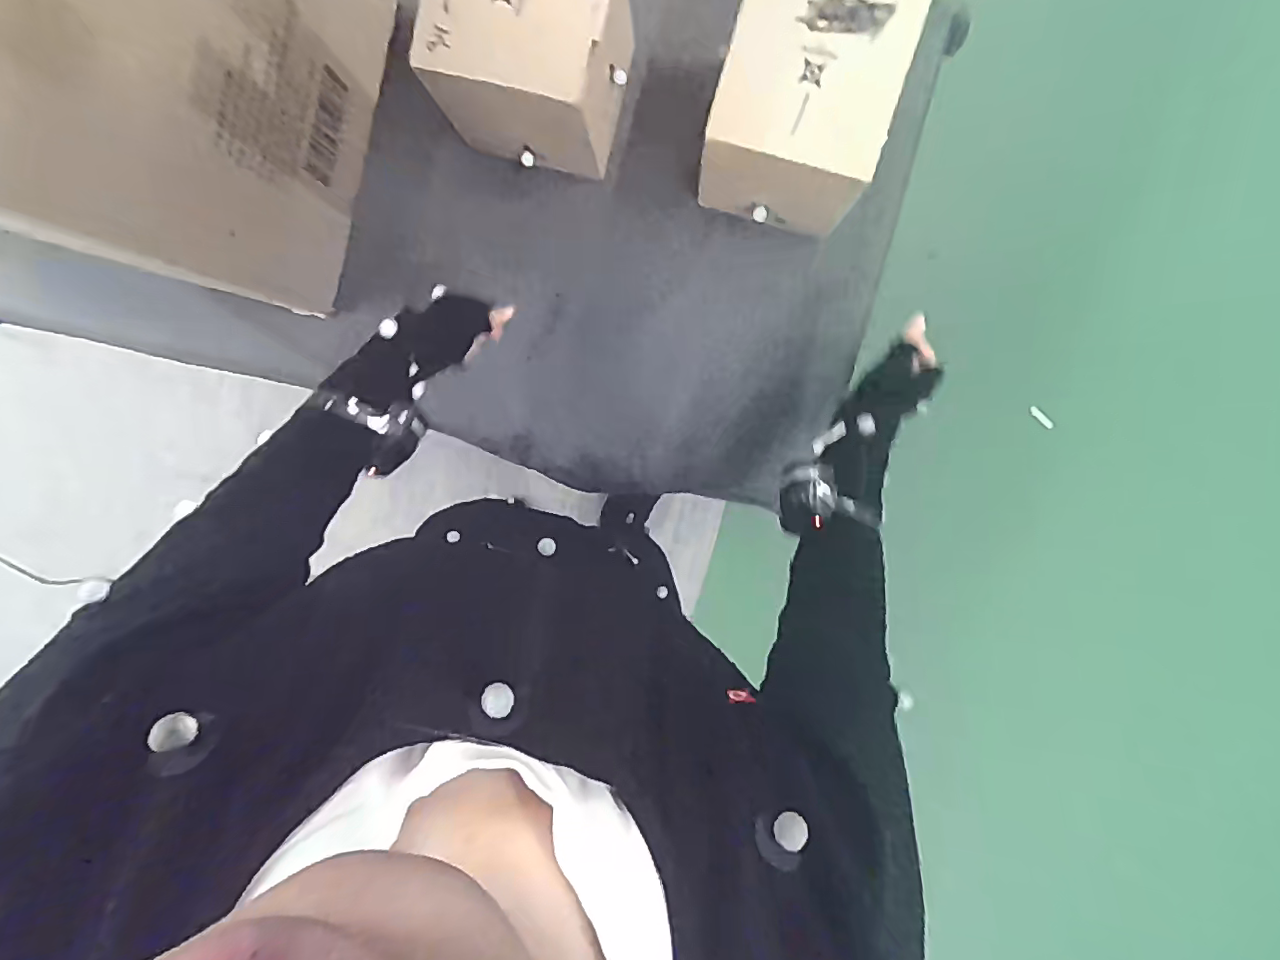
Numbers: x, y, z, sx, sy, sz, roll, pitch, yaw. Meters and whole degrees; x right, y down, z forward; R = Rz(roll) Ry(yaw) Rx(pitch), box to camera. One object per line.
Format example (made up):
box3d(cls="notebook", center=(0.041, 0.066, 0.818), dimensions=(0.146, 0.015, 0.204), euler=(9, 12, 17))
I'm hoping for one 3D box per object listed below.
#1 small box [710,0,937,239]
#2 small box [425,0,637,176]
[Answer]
box3d(cls="small box", center=(0.178, -0.395, 0.587), dimensions=(0.168, 0.176, 0.179), euler=(17, 97, 3))
box3d(cls="small box", center=(-0.105, -0.469, 0.600), dimensions=(0.179, 0.176, 0.168), euler=(14, 96, 1))
